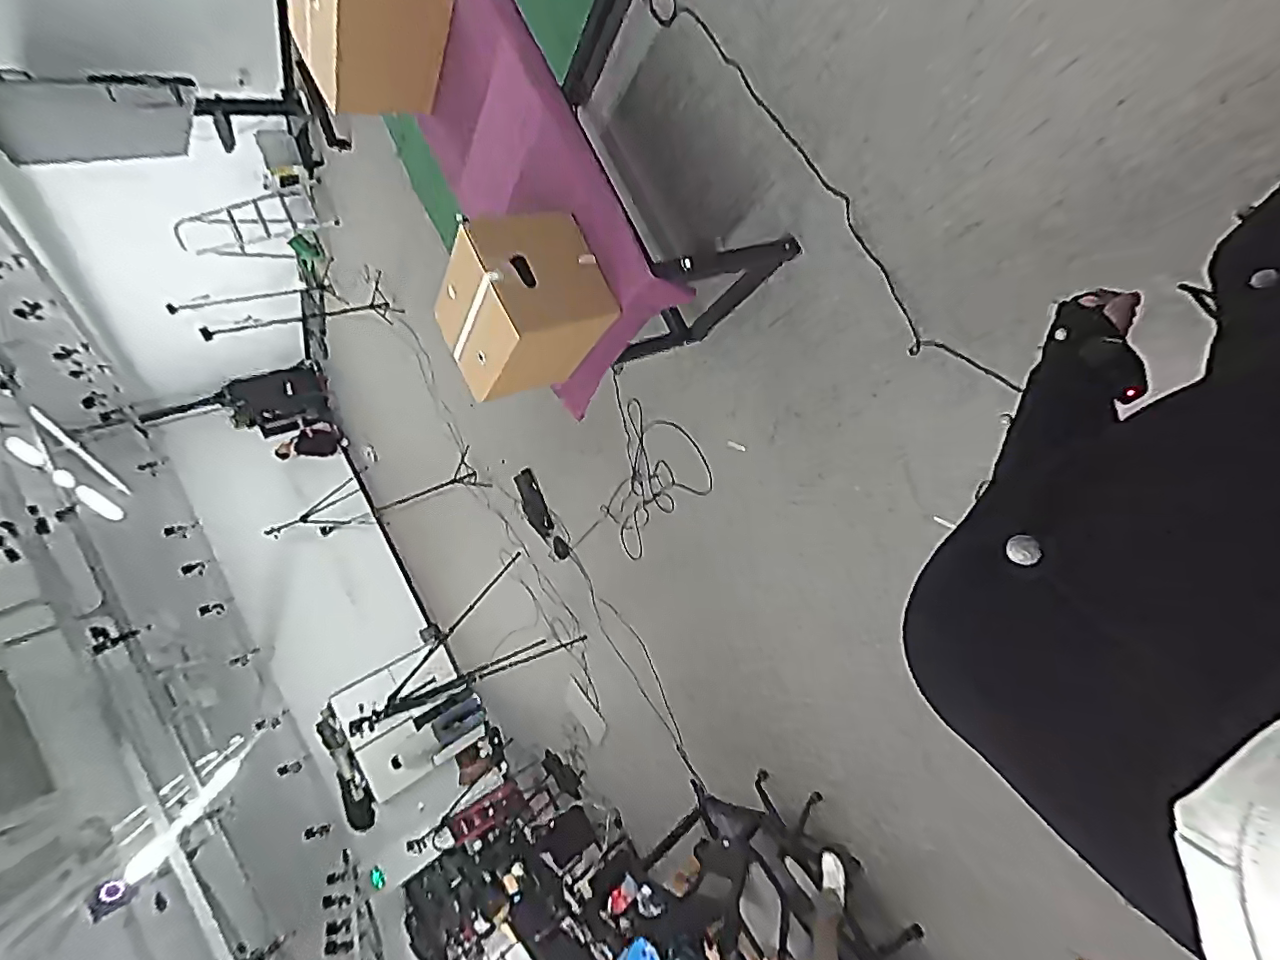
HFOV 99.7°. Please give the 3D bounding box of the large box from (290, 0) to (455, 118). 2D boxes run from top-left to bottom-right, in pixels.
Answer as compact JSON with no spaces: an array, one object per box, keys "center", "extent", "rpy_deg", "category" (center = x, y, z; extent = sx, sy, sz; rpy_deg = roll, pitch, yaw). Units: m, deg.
[{"center":[-0.770,-1.325,1.539],"extent":[0.408,0.320,0.320],"rpy_deg":[-28,89,56],"category":"large box"}]
